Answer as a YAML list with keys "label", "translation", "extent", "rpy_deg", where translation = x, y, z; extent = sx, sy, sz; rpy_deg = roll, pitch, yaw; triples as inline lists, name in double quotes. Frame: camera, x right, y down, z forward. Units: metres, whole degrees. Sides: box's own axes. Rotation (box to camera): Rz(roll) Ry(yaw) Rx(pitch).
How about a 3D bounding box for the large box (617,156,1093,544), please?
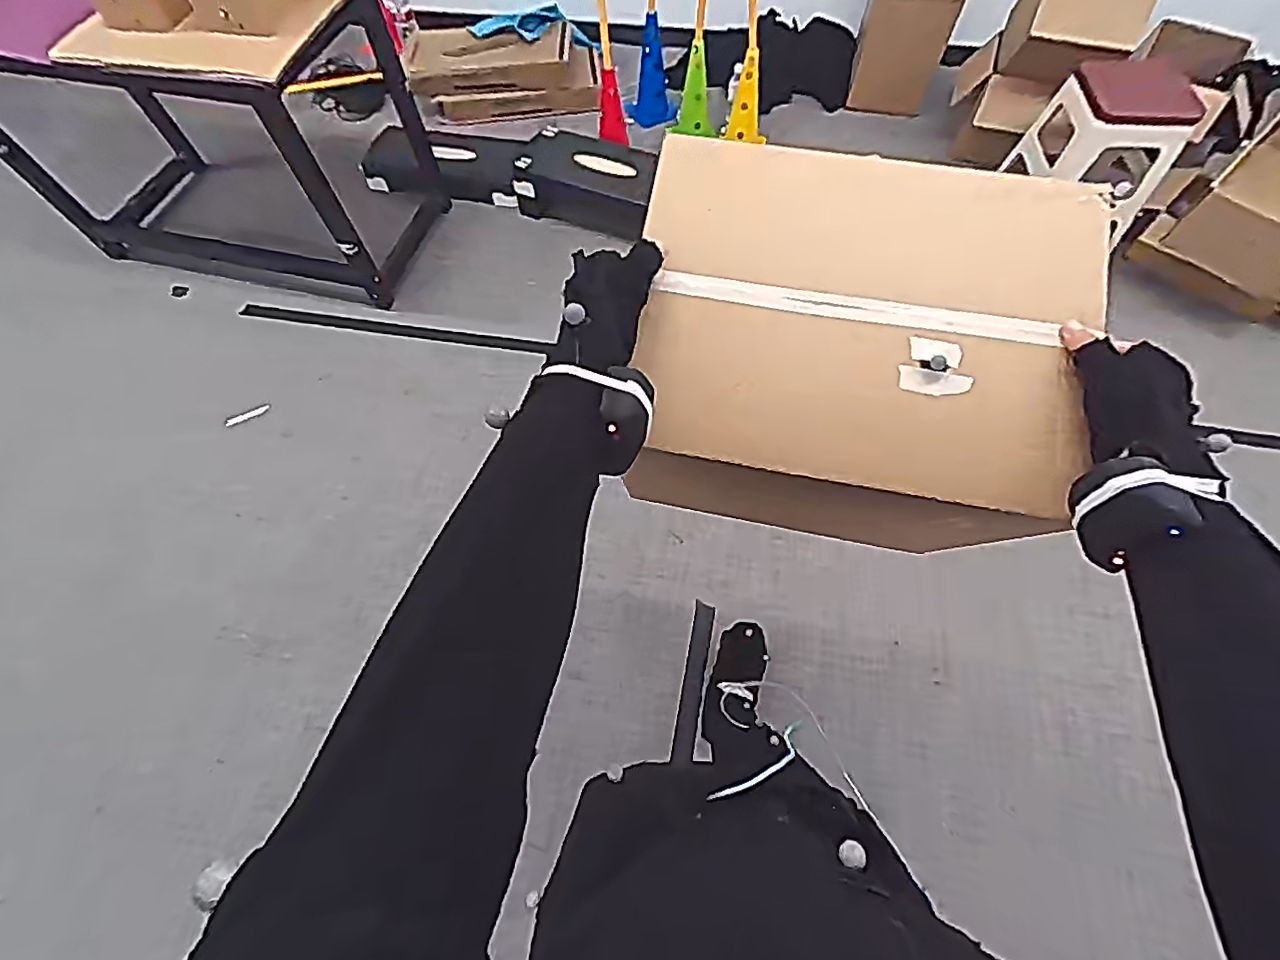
- label: "large box"
  translation: [0.207, -0.119, 0.641]
  extent: [0.408, 0.320, 0.320]
  rpy_deg: [10, 81, 6]
